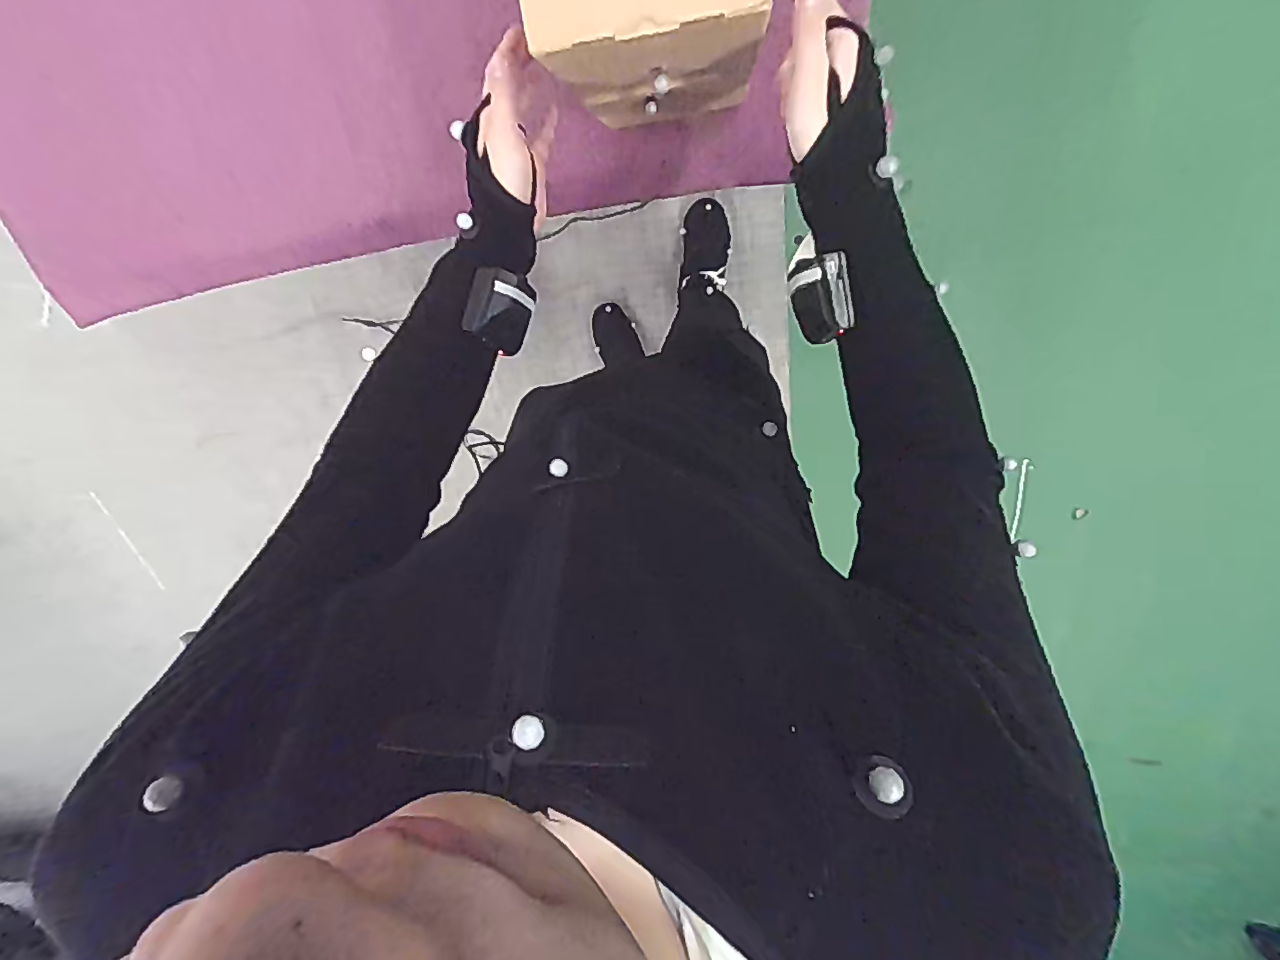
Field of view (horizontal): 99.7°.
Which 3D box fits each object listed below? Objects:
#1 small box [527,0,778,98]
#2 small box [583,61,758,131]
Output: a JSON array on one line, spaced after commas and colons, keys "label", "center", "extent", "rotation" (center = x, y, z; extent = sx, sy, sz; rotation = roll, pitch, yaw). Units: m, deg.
[{"label": "small box", "center": [0.008, -0.408, 0.392], "extent": [0.168, 0.176, 0.179], "rotation": [-3, 116, 9]}, {"label": "small box", "center": [0.026, -0.476, 0.543], "extent": [0.168, 0.176, 0.179], "rotation": [-4, 115, 10]}]
